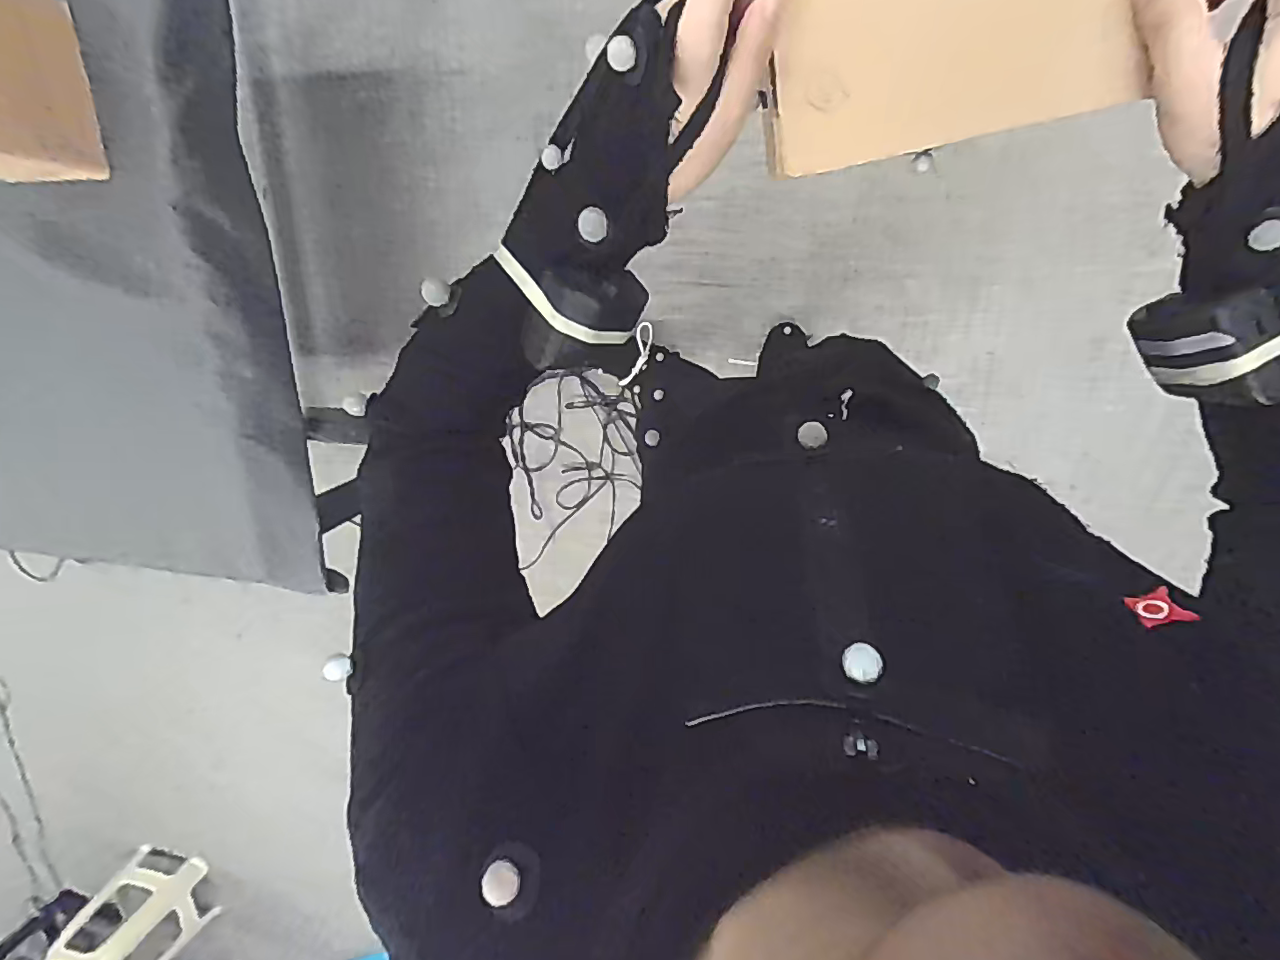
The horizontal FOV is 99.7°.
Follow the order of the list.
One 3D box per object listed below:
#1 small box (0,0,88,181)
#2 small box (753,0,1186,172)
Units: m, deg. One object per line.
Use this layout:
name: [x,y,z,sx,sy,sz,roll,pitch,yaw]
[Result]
small box: [-0.732,-0.415,0.551,0.168,0.176,0.179,4,108,11]
small box: [0.154,-0.280,0.299,0.179,0.176,0.168,-7,119,13]
